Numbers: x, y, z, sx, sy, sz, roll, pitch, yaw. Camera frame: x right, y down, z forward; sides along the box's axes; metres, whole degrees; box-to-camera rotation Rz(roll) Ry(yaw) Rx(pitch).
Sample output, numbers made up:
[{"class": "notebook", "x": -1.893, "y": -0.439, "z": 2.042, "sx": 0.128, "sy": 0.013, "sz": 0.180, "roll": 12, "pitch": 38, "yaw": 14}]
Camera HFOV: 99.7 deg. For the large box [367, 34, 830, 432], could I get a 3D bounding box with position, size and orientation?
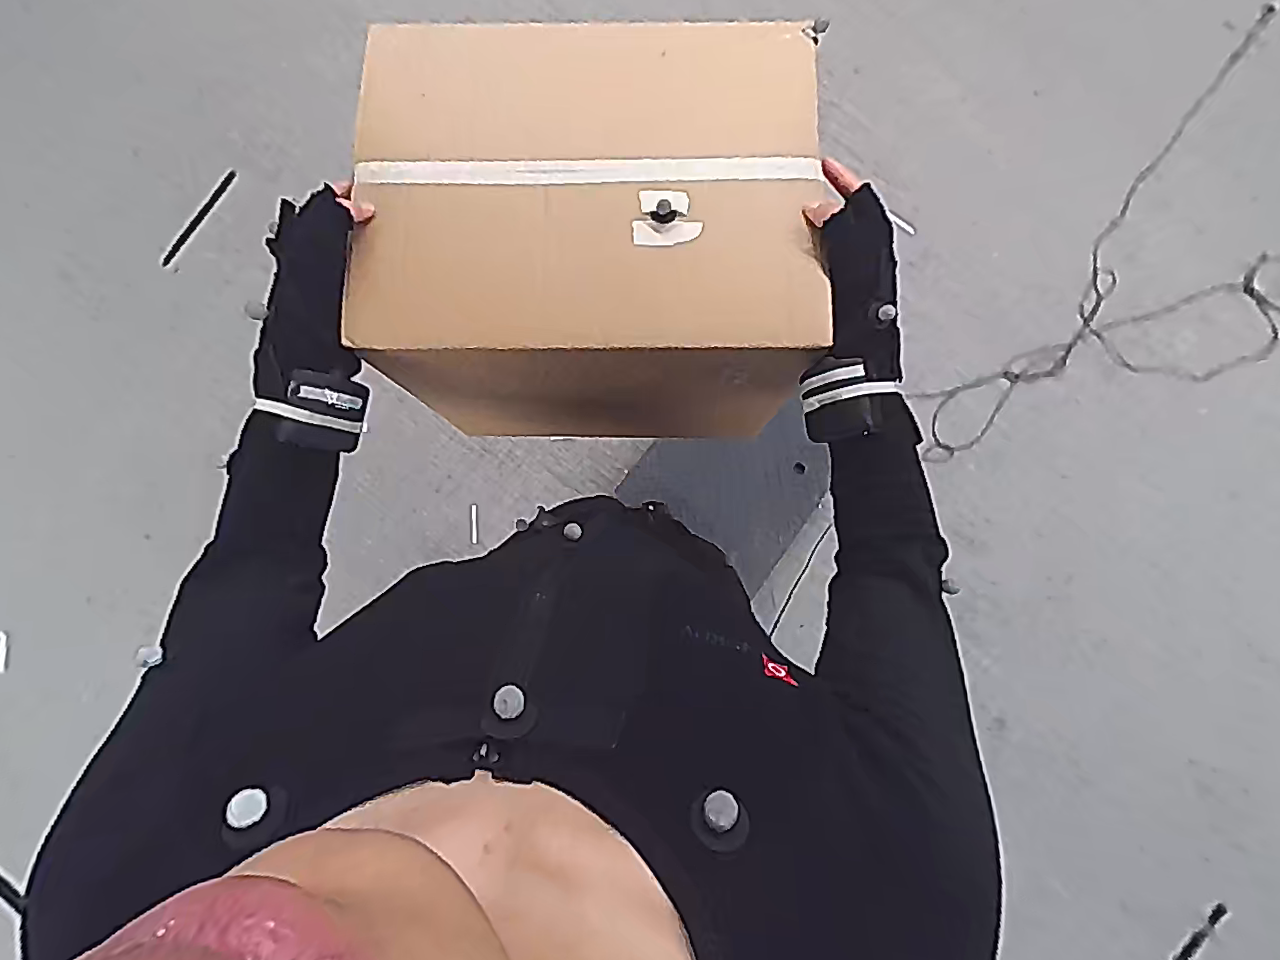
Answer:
[{"class": "large box", "x": -0.036, "y": -0.244, "z": 0.630, "sx": 0.408, "sy": 0.320, "sz": 0.320, "roll": 1, "pitch": 81, "yaw": 1}]
